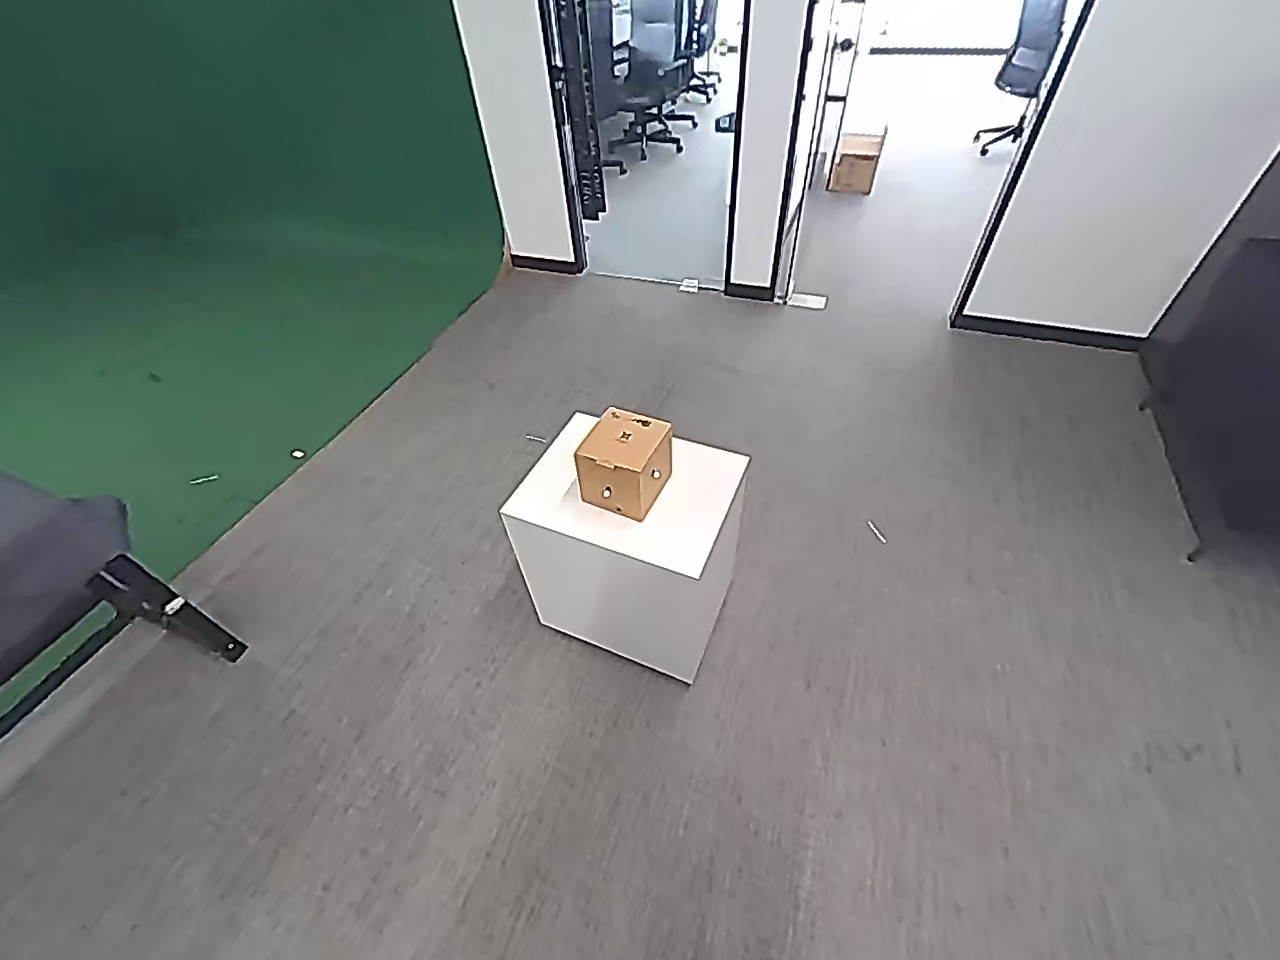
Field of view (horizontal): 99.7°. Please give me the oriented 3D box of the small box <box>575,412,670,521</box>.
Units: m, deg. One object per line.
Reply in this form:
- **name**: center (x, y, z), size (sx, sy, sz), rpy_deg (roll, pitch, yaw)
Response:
- **small box**: center (-0.033, -0.030, 1.279), size (0.168, 0.176, 0.179), rpy_deg (16, 49, 18)
